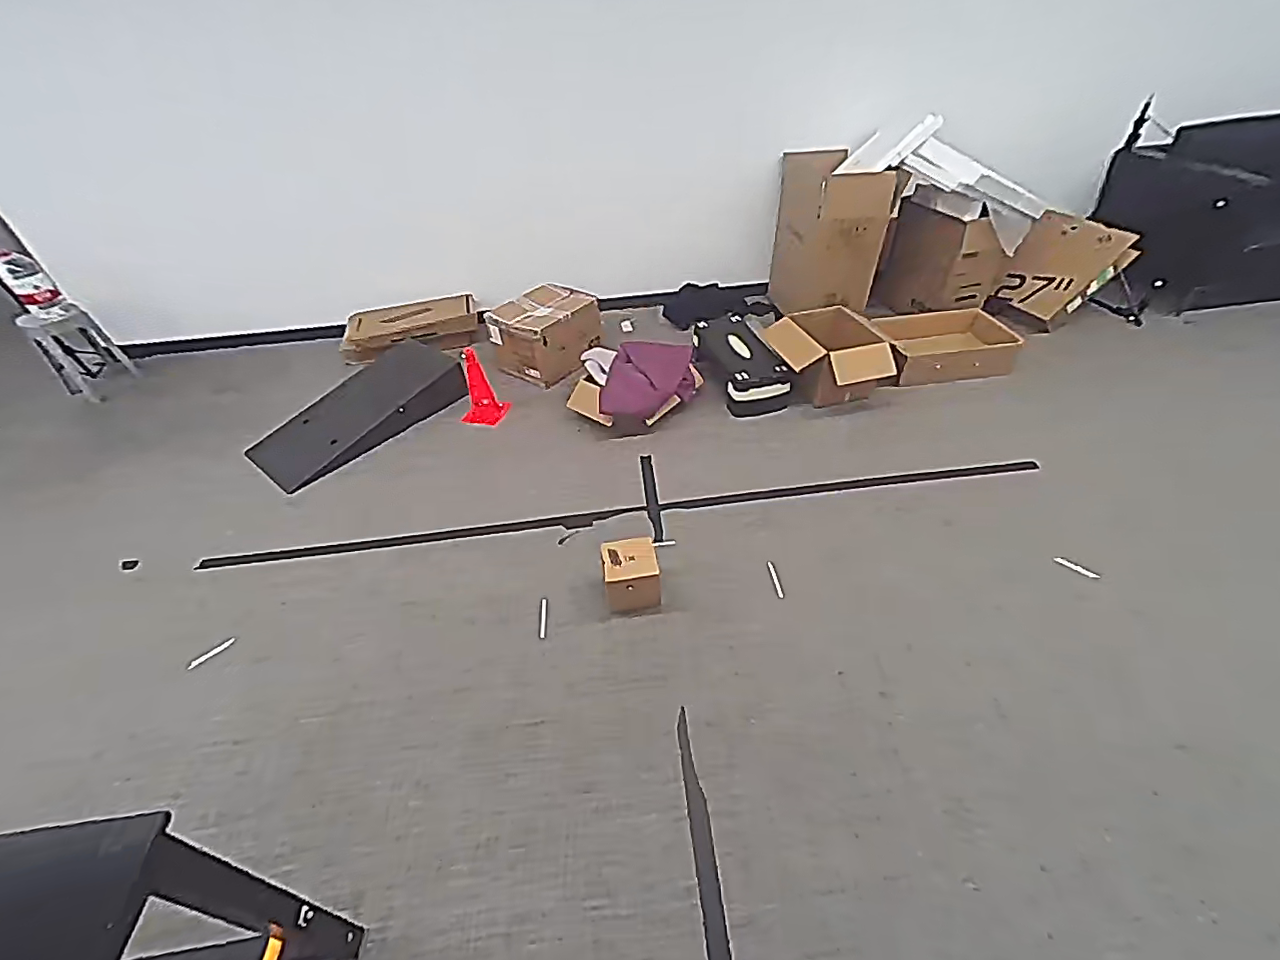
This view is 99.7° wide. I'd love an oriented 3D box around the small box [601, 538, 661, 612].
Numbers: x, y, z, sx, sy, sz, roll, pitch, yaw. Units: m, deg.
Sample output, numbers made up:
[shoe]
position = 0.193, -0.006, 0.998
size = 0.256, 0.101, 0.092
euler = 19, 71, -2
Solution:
[small box]
position = -0.029, 0.322, 1.805
size = 0.179, 0.176, 0.168
euler = -8, 42, -6
